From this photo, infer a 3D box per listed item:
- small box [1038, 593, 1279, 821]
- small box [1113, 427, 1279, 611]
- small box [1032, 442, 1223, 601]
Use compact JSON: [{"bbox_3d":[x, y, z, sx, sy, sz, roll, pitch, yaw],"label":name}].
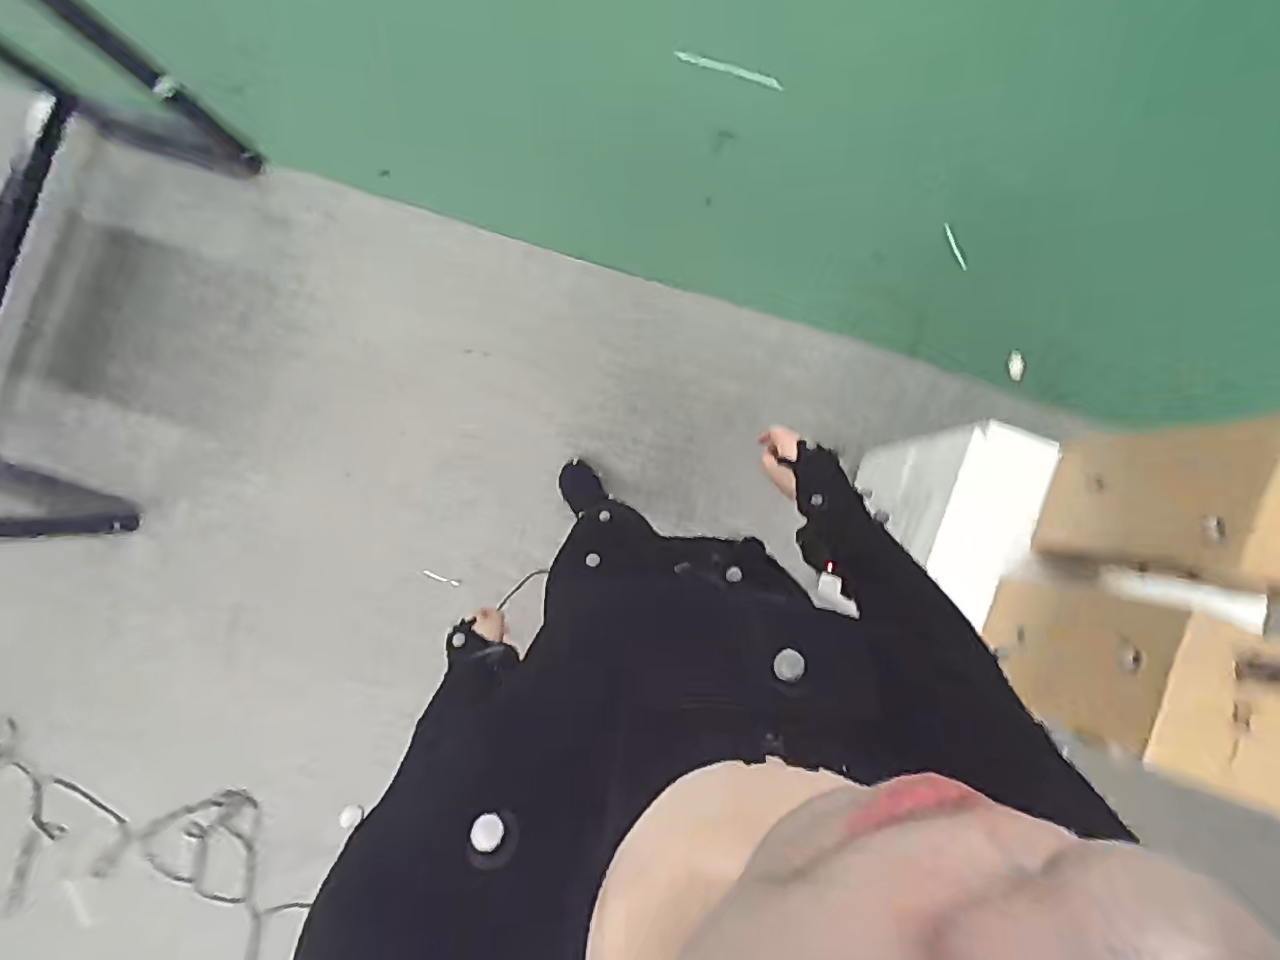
[{"bbox_3d":[0.620,0.247,0.636,0.168,0.176,0.179,21,87,3],"label":"small box"},{"bbox_3d":[0.730,0.049,0.646,0.168,0.176,0.179,21,90,3],"label":"small box"},{"bbox_3d":[0.739,0.058,0.810,0.168,0.176,0.179,19,89,3],"label":"small box"}]
